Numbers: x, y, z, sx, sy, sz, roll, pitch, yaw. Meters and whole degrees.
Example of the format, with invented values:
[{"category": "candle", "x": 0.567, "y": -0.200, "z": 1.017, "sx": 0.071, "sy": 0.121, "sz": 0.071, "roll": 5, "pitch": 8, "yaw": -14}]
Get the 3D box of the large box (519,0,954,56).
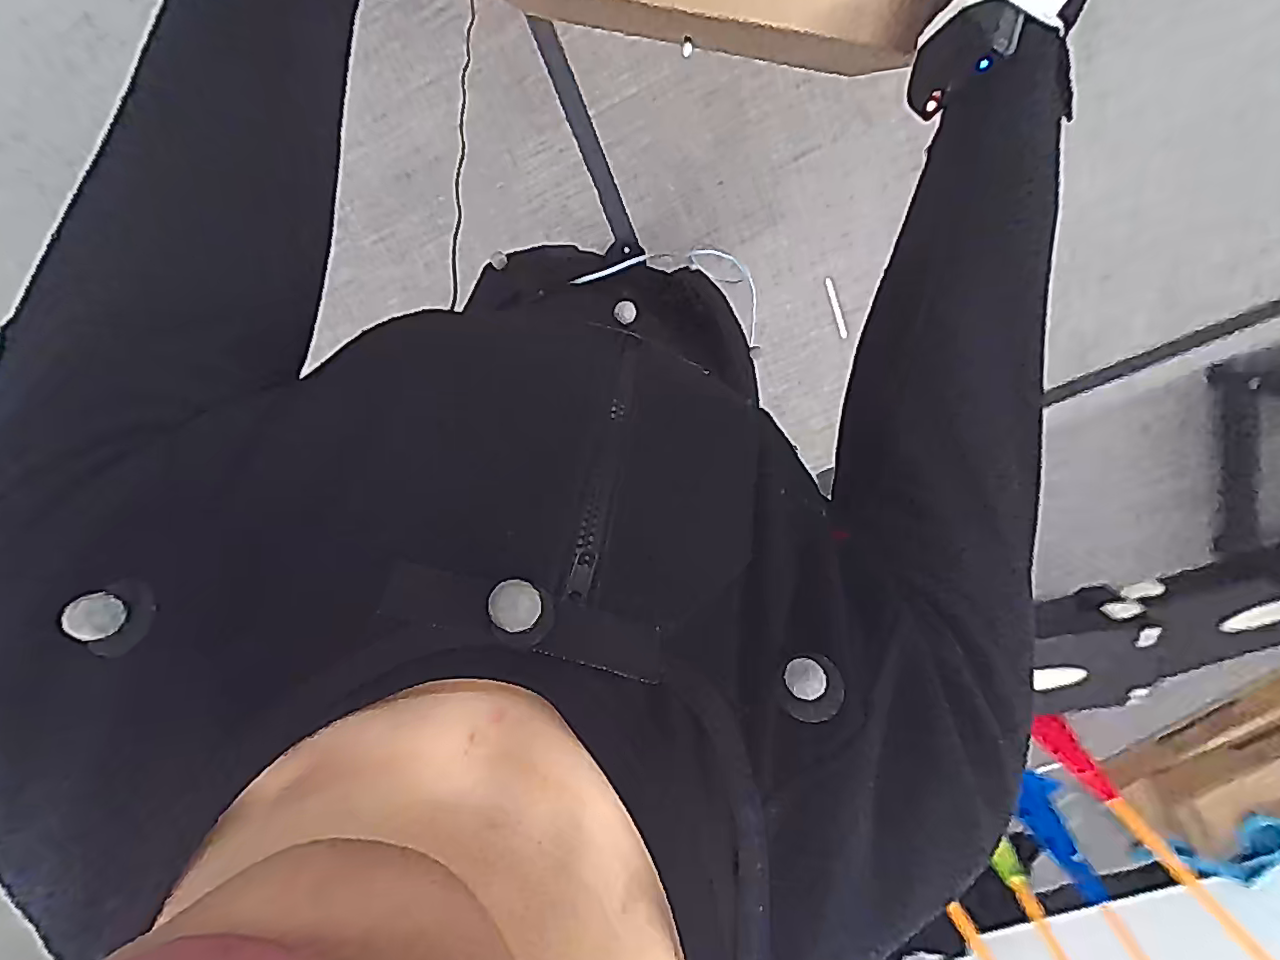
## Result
[{"category": "large box", "x": 0.063, "y": -0.567, "z": 0.433, "sx": 0.408, "sy": 0.320, "sz": 0.320, "roll": 10, "pitch": 124, "yaw": 0}]
